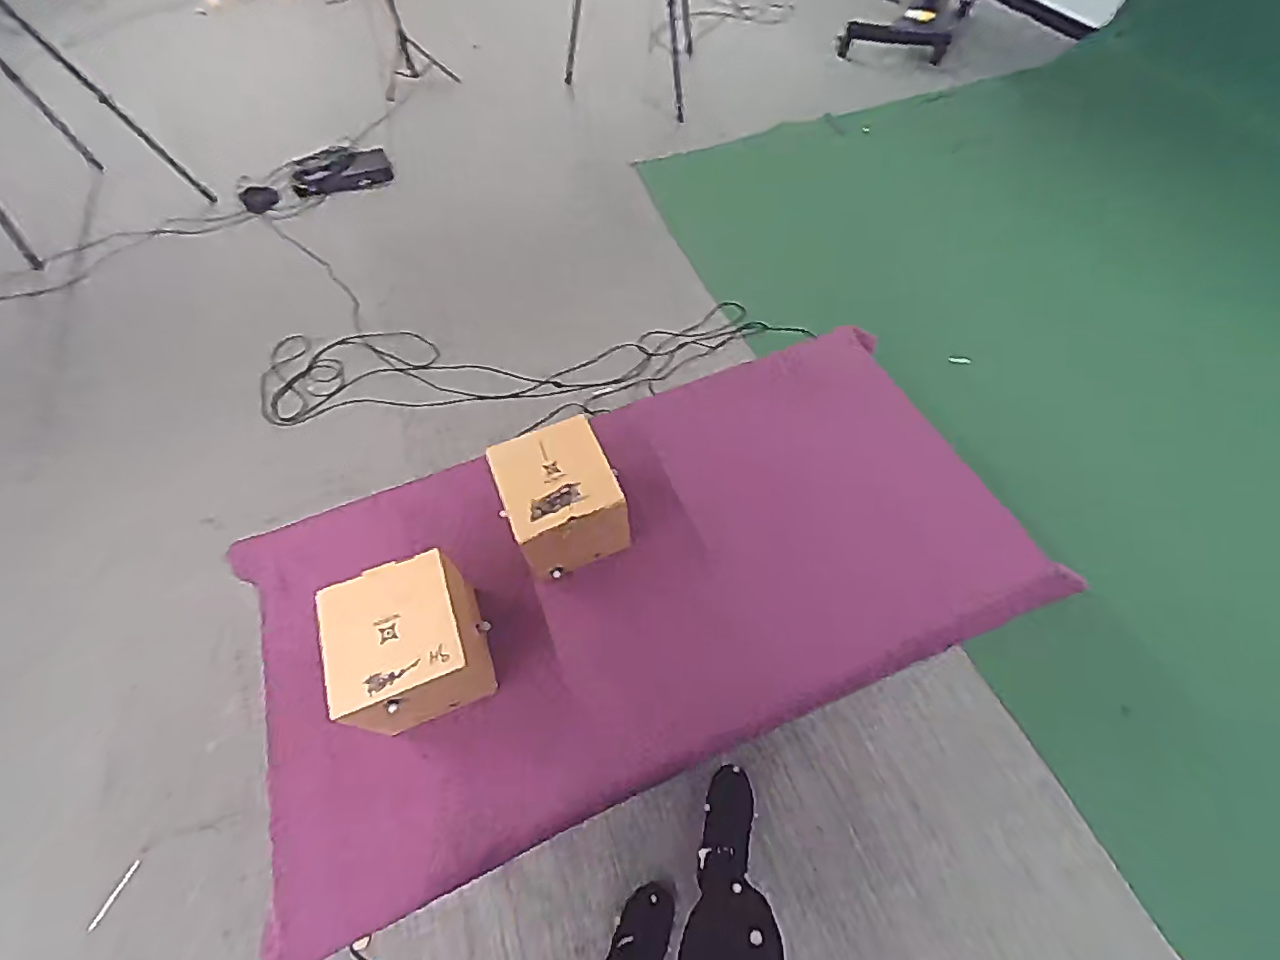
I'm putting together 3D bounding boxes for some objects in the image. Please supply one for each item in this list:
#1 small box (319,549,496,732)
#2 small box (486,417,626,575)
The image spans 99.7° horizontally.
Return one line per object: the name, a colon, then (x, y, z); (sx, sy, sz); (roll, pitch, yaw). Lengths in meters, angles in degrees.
small box: (-0.320, 0.230, 0.762); (0.168, 0.176, 0.179); (-21, 60, -9)
small box: (-0.129, 0.035, 0.877); (0.168, 0.176, 0.179); (-21, 60, -11)
